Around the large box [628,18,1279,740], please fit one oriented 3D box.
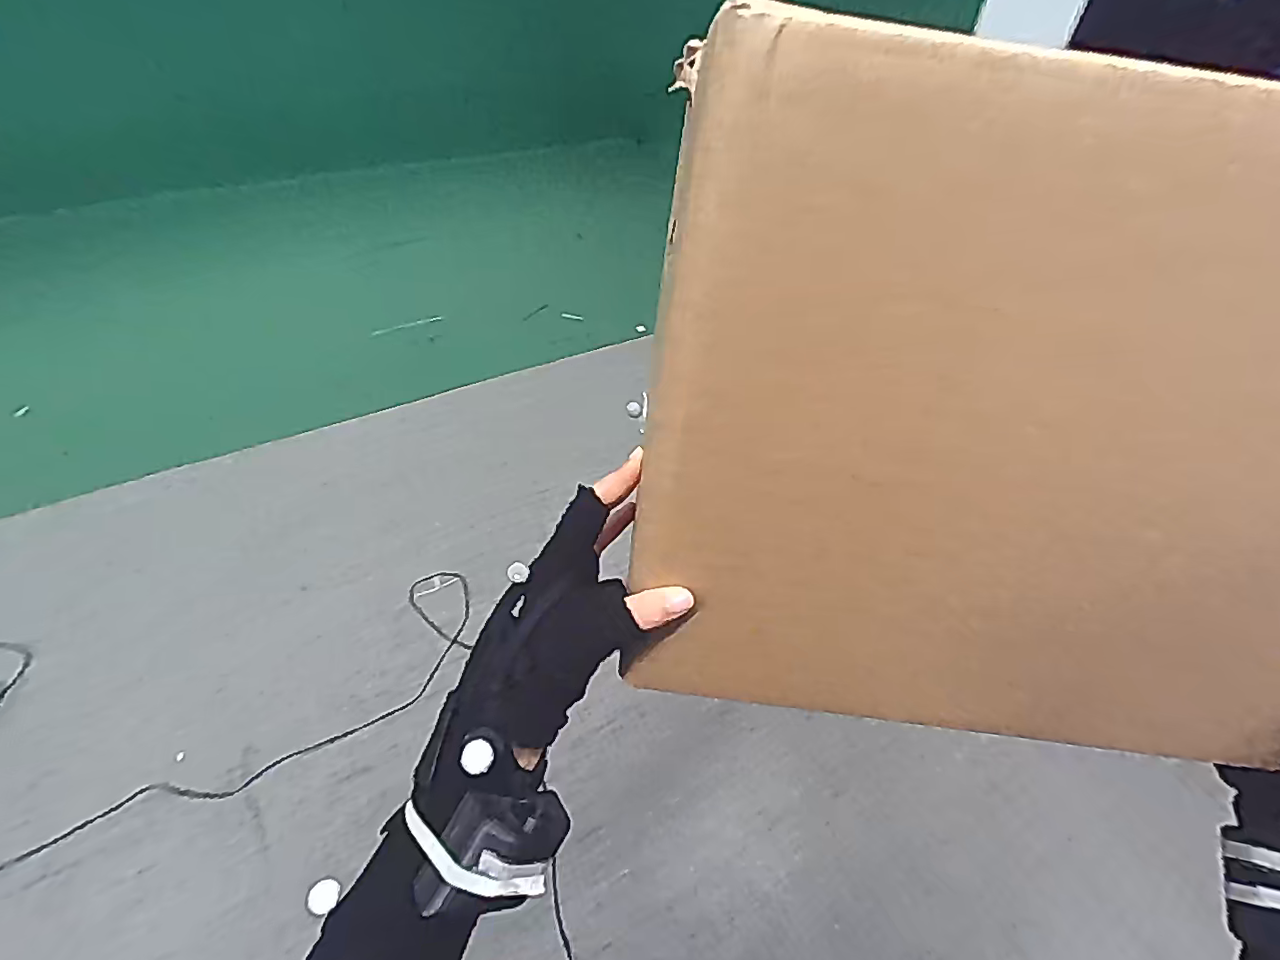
[{"bbox_3d":[0.210,-0.063,0.371,0.408,0.320,0.320,8,35,-3],"label":"large box"}]
